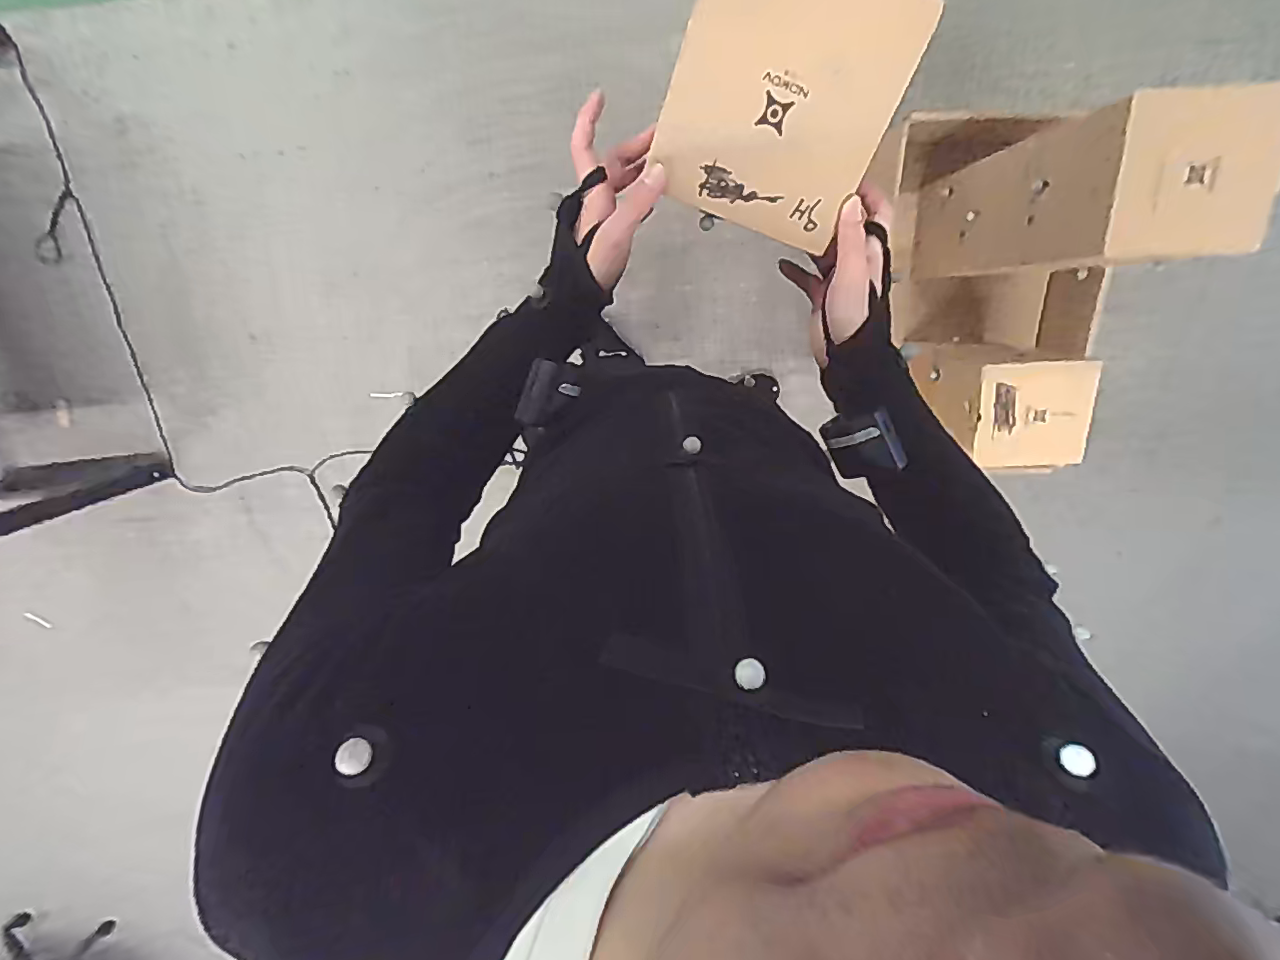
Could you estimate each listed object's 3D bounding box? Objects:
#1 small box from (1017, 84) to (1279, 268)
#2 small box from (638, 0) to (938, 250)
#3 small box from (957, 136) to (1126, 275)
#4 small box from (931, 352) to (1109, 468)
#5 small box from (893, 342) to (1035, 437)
[{"bbox_3d":[0.611,-0.354,0.658,0.179,0.176,0.168,-1,107,2],"label":"small box"},{"bbox_3d":[0.103,-0.324,0.464,0.168,0.176,0.179,18,120,-7],"label":"small box"},{"bbox_3d":[0.617,-0.403,0.813,0.179,0.176,0.168,-2,107,2],"label":"small box"},{"bbox_3d":[0.615,-0.122,0.903,0.179,0.176,0.168,-2,108,3],"label":"small box"},{"bbox_3d":[0.627,-0.179,1.057,0.179,0.176,0.168,3,108,2],"label":"small box"}]
